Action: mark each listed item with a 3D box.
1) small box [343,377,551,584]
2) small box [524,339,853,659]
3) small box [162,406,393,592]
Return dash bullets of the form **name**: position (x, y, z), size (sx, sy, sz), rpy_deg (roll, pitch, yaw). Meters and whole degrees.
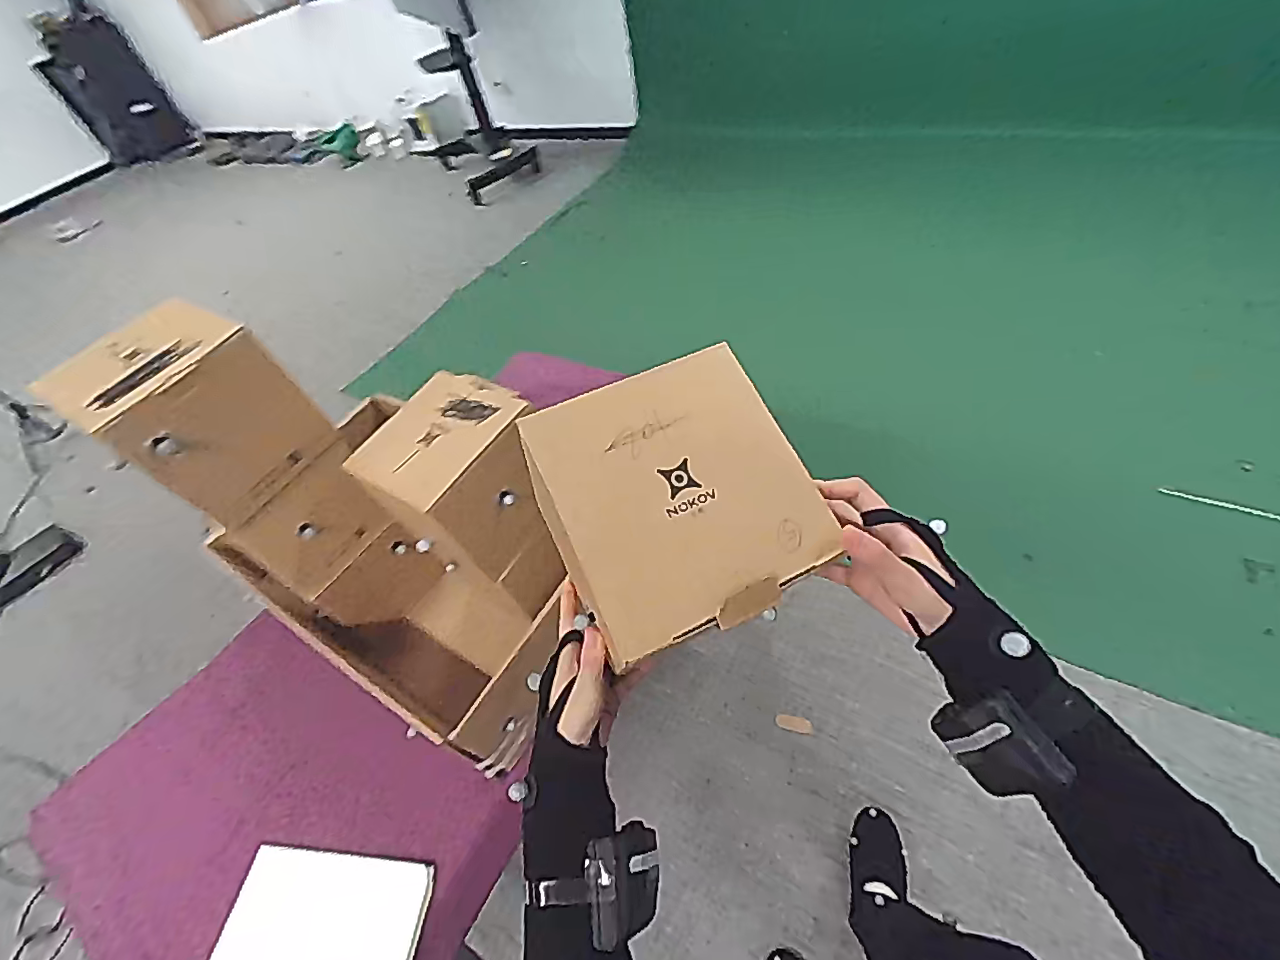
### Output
- **small box**: position (-0.226, 0.000, 0.700), size (0.168, 0.176, 0.179), rpy_deg (21, 61, 30)
- **small box**: position (0.024, 0.028, 0.427), size (0.168, 0.176, 0.179), rpy_deg (-22, 71, -13)
- **small box**: position (-0.484, 0.031, 0.748), size (0.179, 0.176, 0.168), rpy_deg (22, 59, 27)
